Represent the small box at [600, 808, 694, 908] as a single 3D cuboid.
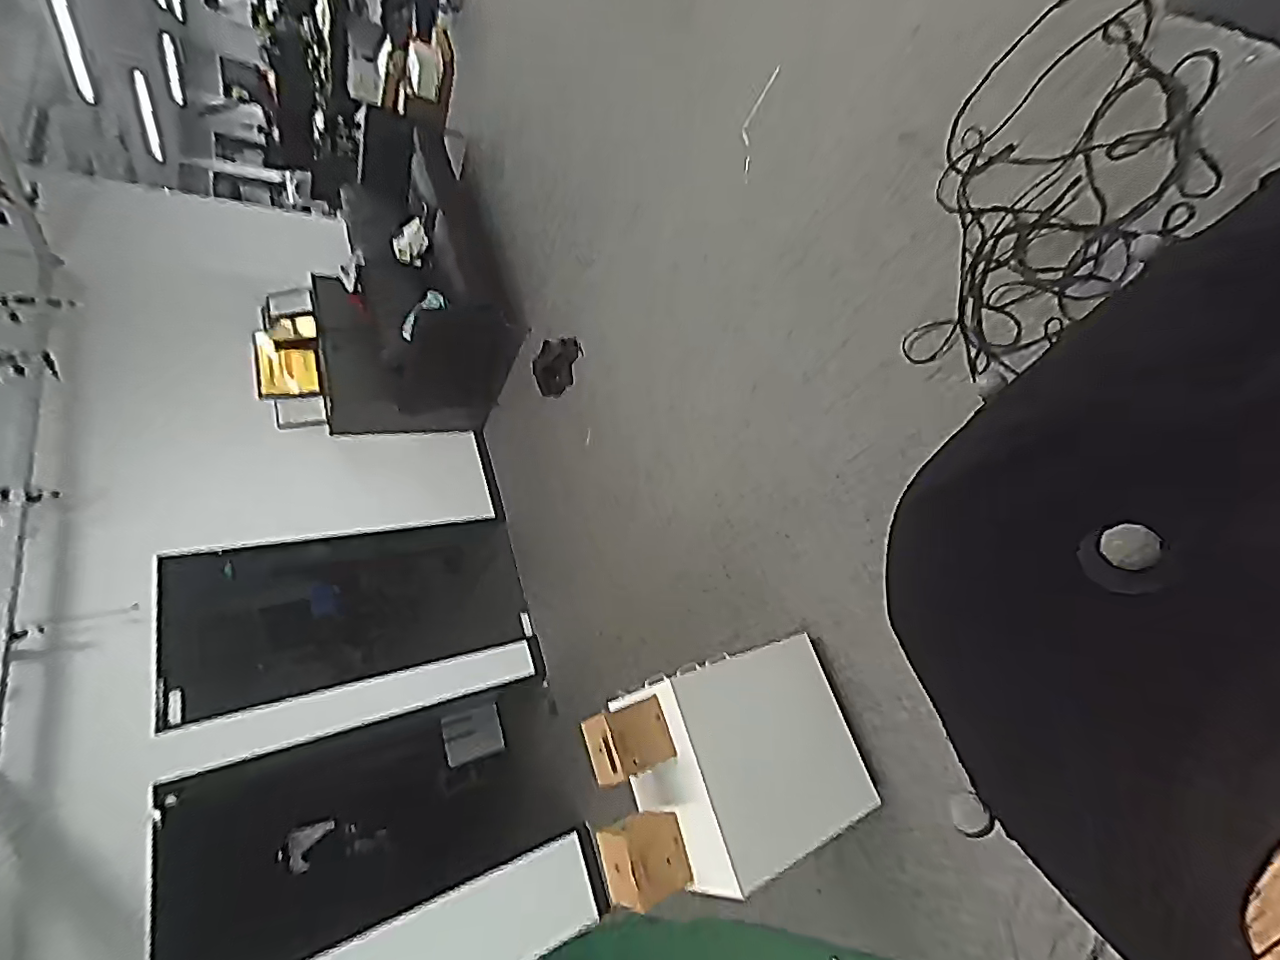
[{"bbox_3d":[0.016,1.004,1.454,0.179,0.176,0.168,-42,59,49],"label":"small box"}]
